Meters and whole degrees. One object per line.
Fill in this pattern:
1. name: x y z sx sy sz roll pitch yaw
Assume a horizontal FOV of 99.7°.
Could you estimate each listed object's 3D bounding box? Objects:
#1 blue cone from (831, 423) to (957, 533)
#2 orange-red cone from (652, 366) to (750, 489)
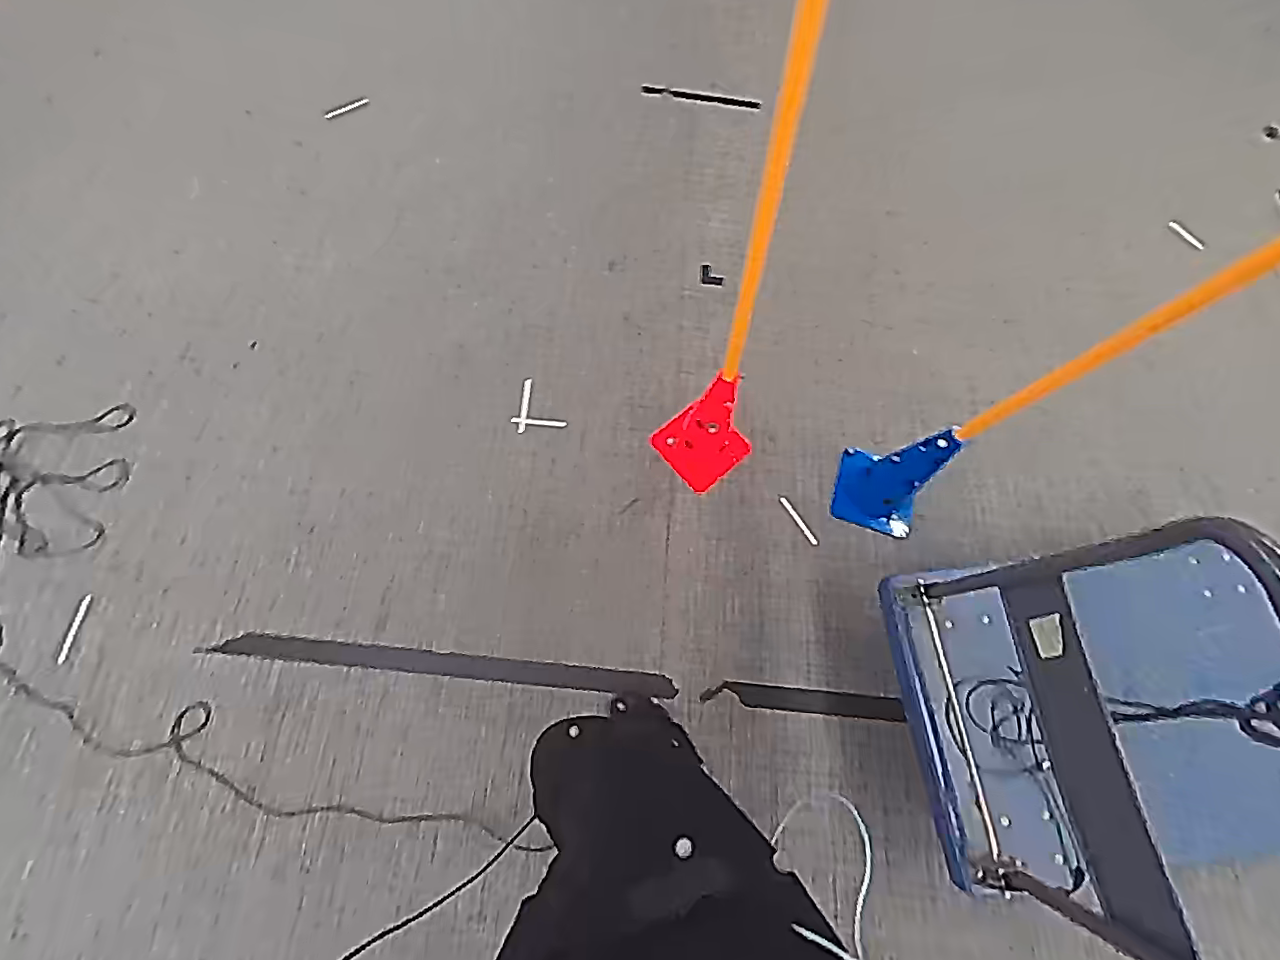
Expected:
1. blue cone: 0.593 -0.028 1.207 0.192 0.380 0.193 20 71 5
2. orange-red cone: 0.167 -0.151 1.211 0.198 0.360 0.199 -38 78 -14
